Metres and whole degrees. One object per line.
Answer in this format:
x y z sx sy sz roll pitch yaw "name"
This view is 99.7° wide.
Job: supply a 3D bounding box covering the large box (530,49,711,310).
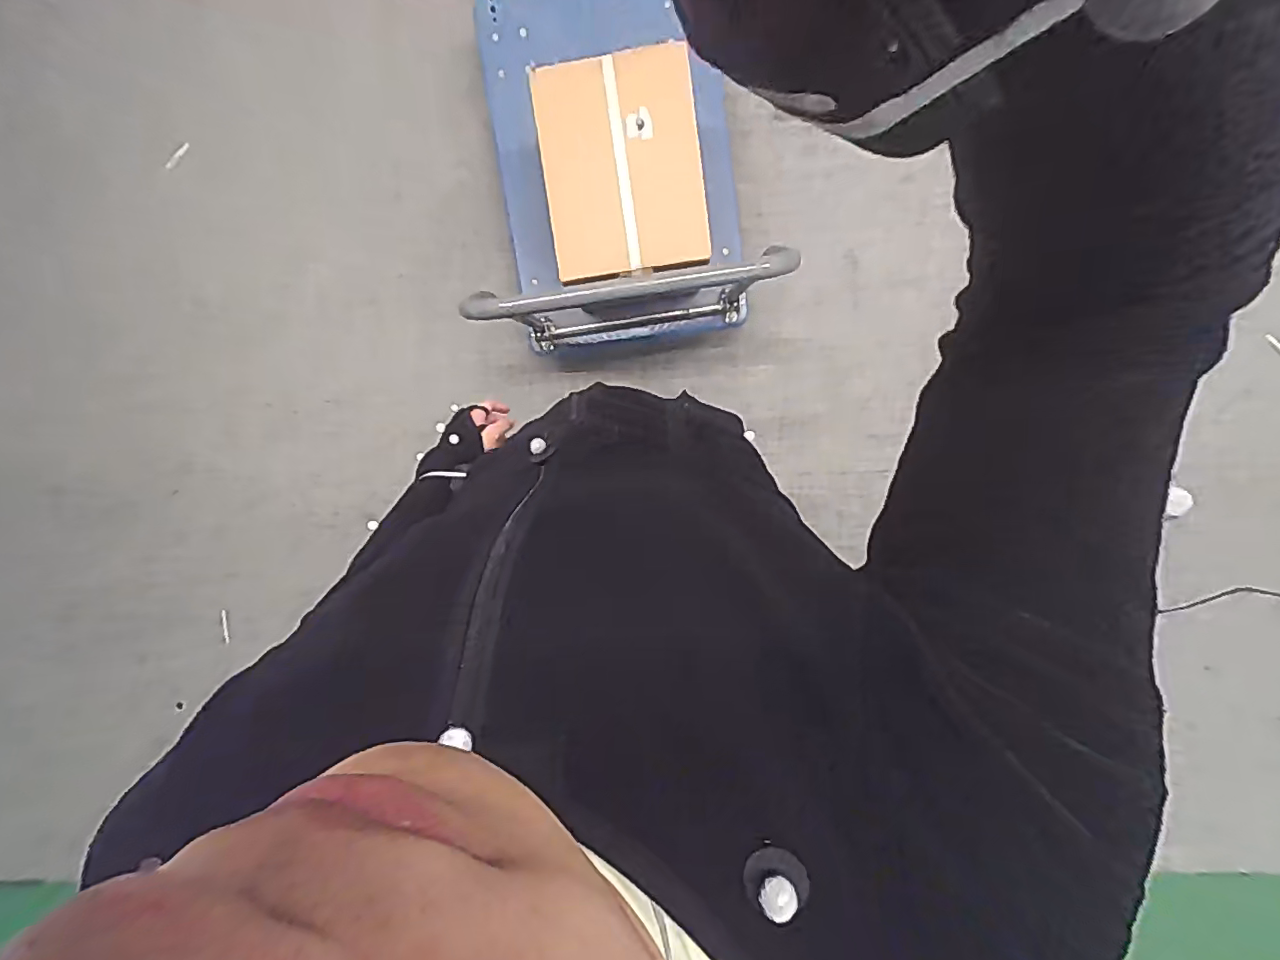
-0.029 -0.636 1.224 0.320 0.320 0.408 -8 97 3 "large box"
